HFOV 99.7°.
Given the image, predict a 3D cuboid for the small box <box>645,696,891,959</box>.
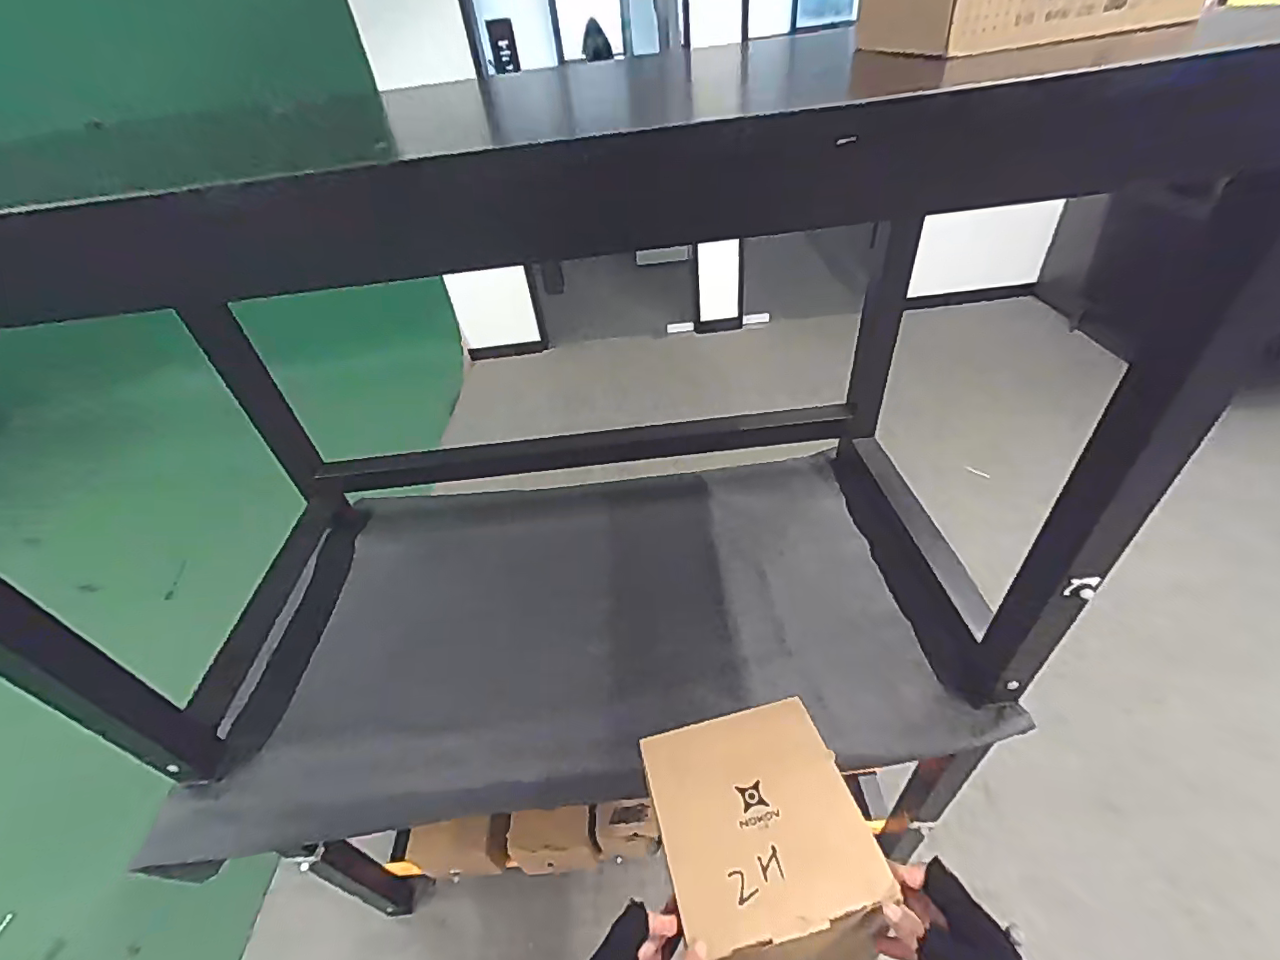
[{"bbox_3d":[0.106,0.347,0.517,0.168,0.176,0.179,-12,34,-5],"label":"small box"}]
